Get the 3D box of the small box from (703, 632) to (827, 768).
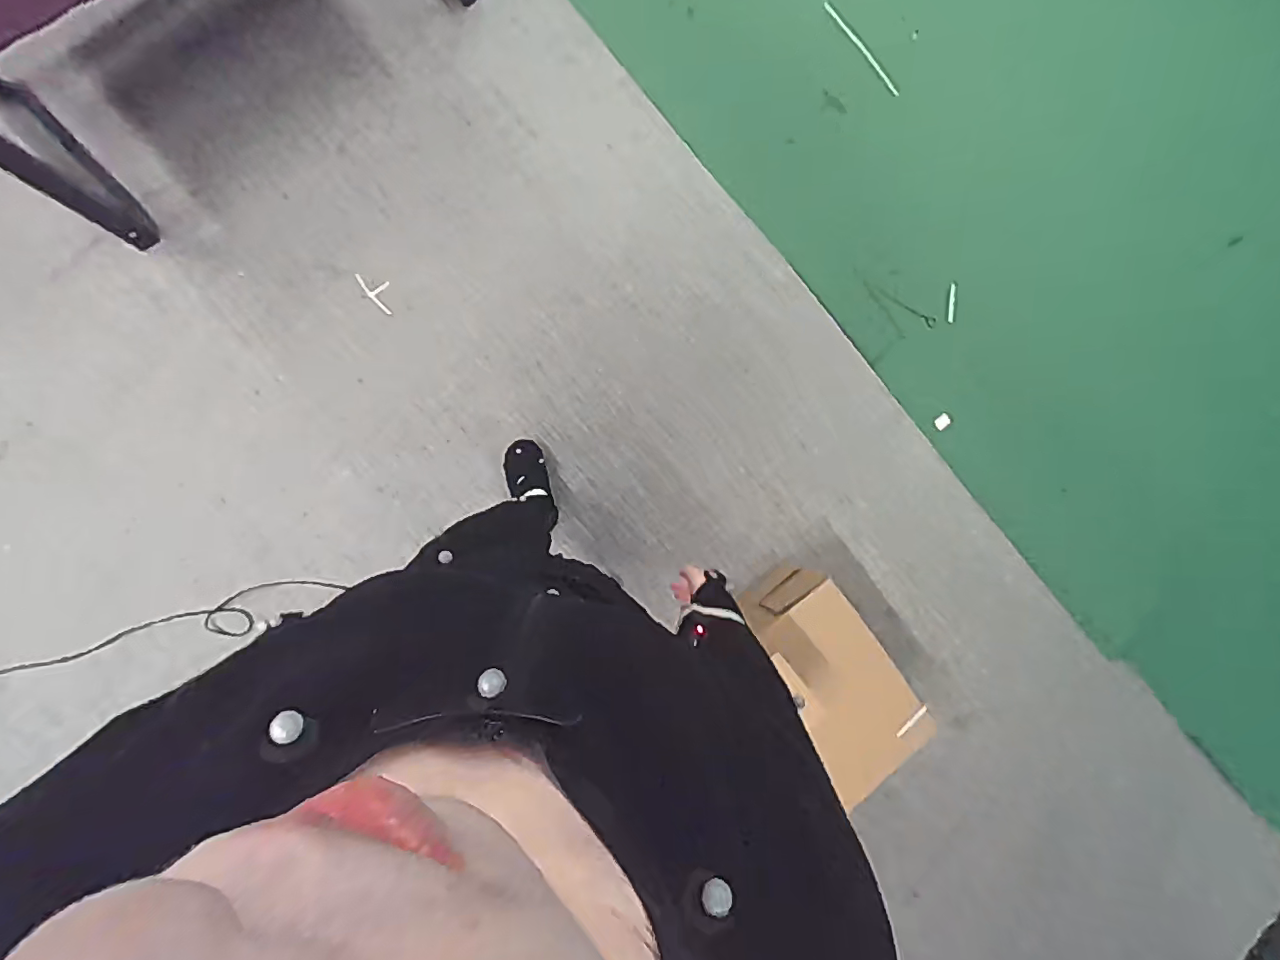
[{"bbox_3d":[0.250,0.453,1.142,0.179,0.176,0.168,-39,93,-7],"label":"small box"}]
